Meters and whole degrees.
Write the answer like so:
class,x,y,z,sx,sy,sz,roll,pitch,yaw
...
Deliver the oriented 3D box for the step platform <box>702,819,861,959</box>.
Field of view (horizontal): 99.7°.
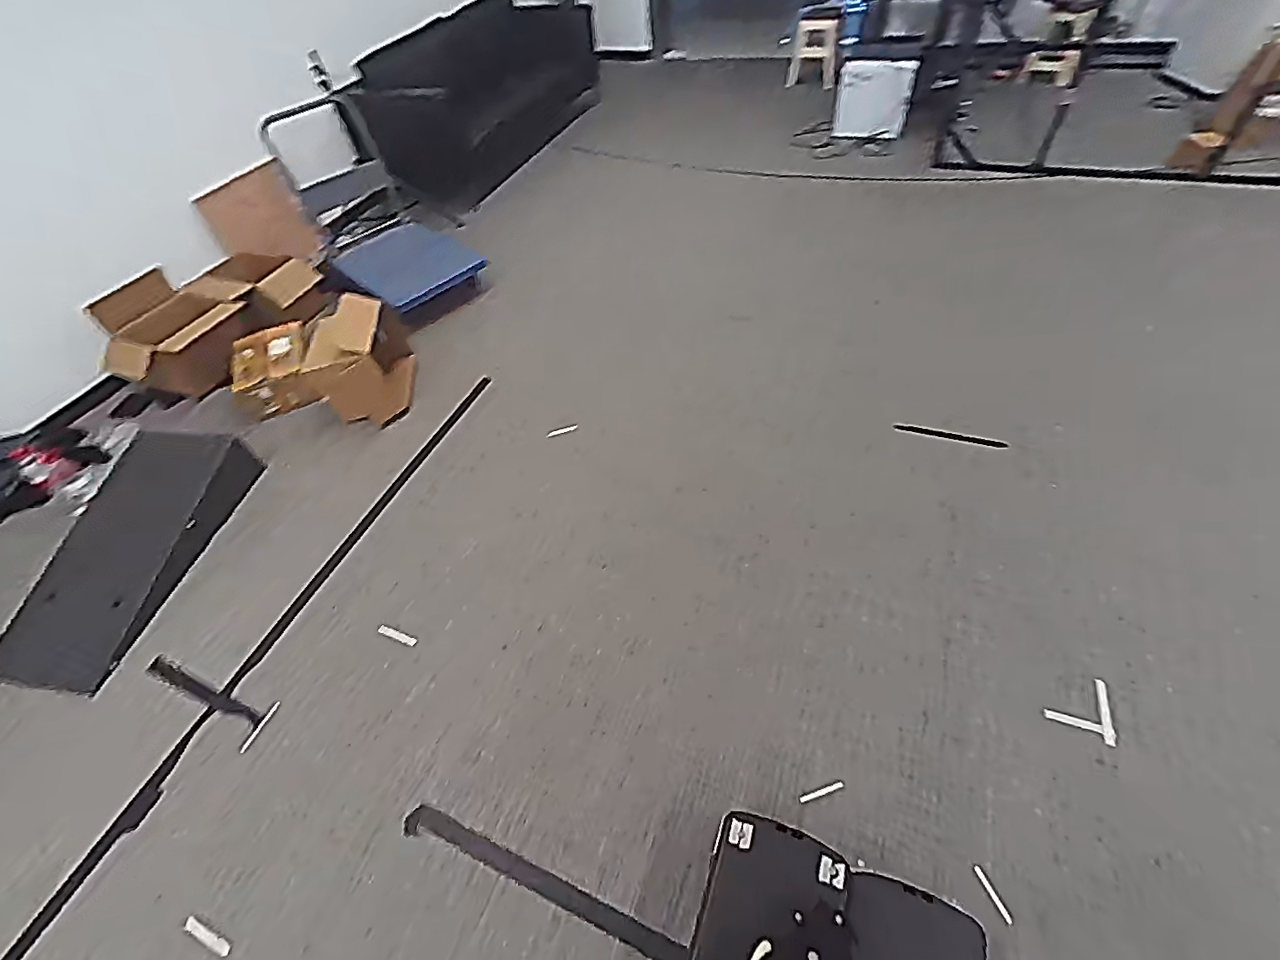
class,x,y,z,sx,sy,sz,roll,pitch,yaw
step platform,0.240,1.079,1.066,0.286,0.204,0.684,14,53,17
